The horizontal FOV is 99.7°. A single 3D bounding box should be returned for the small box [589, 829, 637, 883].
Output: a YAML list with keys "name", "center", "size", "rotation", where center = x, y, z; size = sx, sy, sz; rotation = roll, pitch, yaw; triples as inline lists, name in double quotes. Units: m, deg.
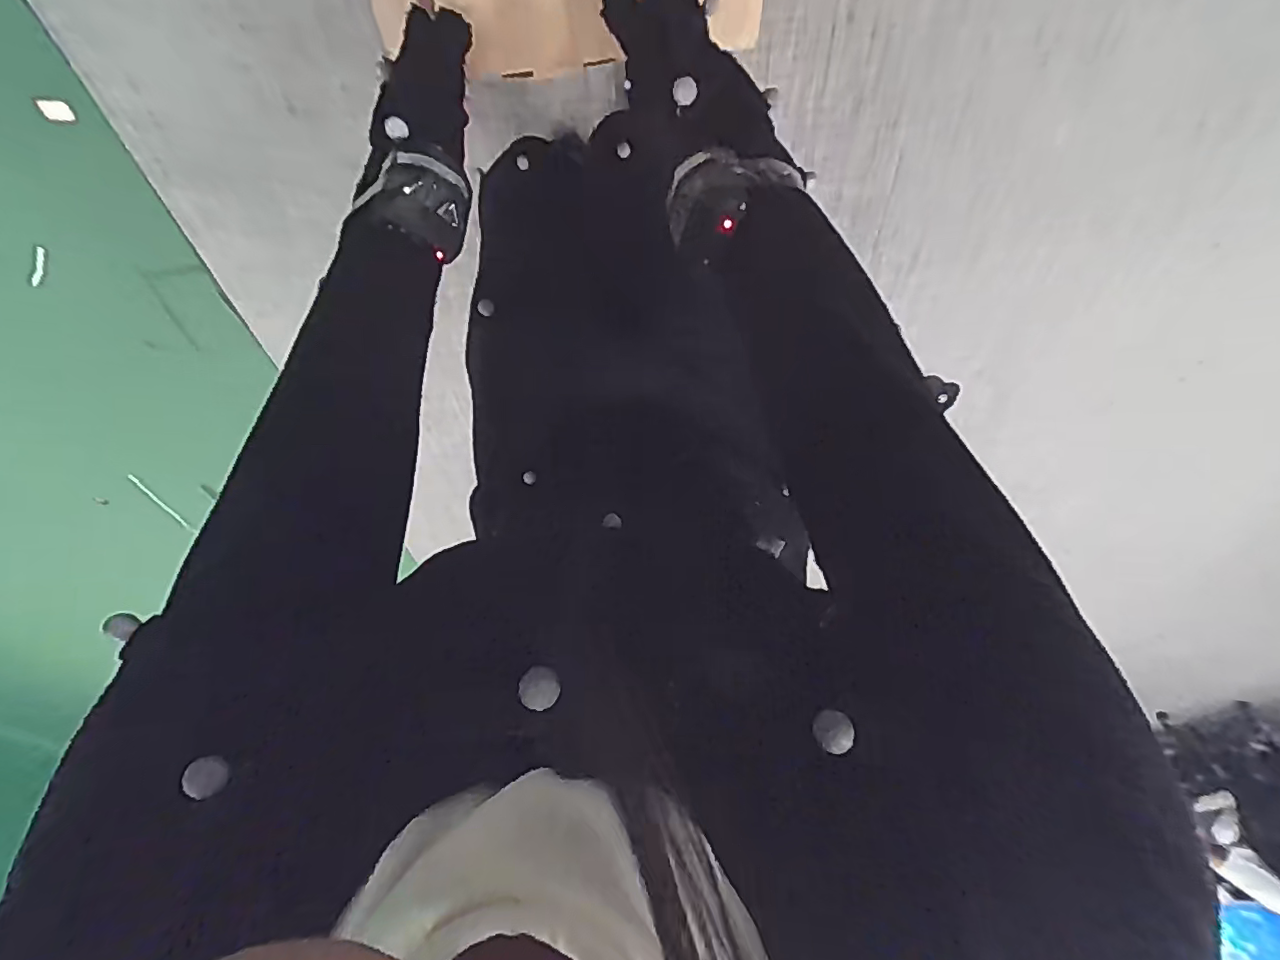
- name: "small box"
  center: [-0.101, 1.507, 2.165]
  size: [0.179, 0.176, 0.168]
  rotation: [-1, 139, 4]

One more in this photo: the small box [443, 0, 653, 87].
- name: "small box"
  center: [-0.078, -0.468, 0.452]
  size: [0.168, 0.176, 0.179]
  rotation: [-4, 141, 6]
